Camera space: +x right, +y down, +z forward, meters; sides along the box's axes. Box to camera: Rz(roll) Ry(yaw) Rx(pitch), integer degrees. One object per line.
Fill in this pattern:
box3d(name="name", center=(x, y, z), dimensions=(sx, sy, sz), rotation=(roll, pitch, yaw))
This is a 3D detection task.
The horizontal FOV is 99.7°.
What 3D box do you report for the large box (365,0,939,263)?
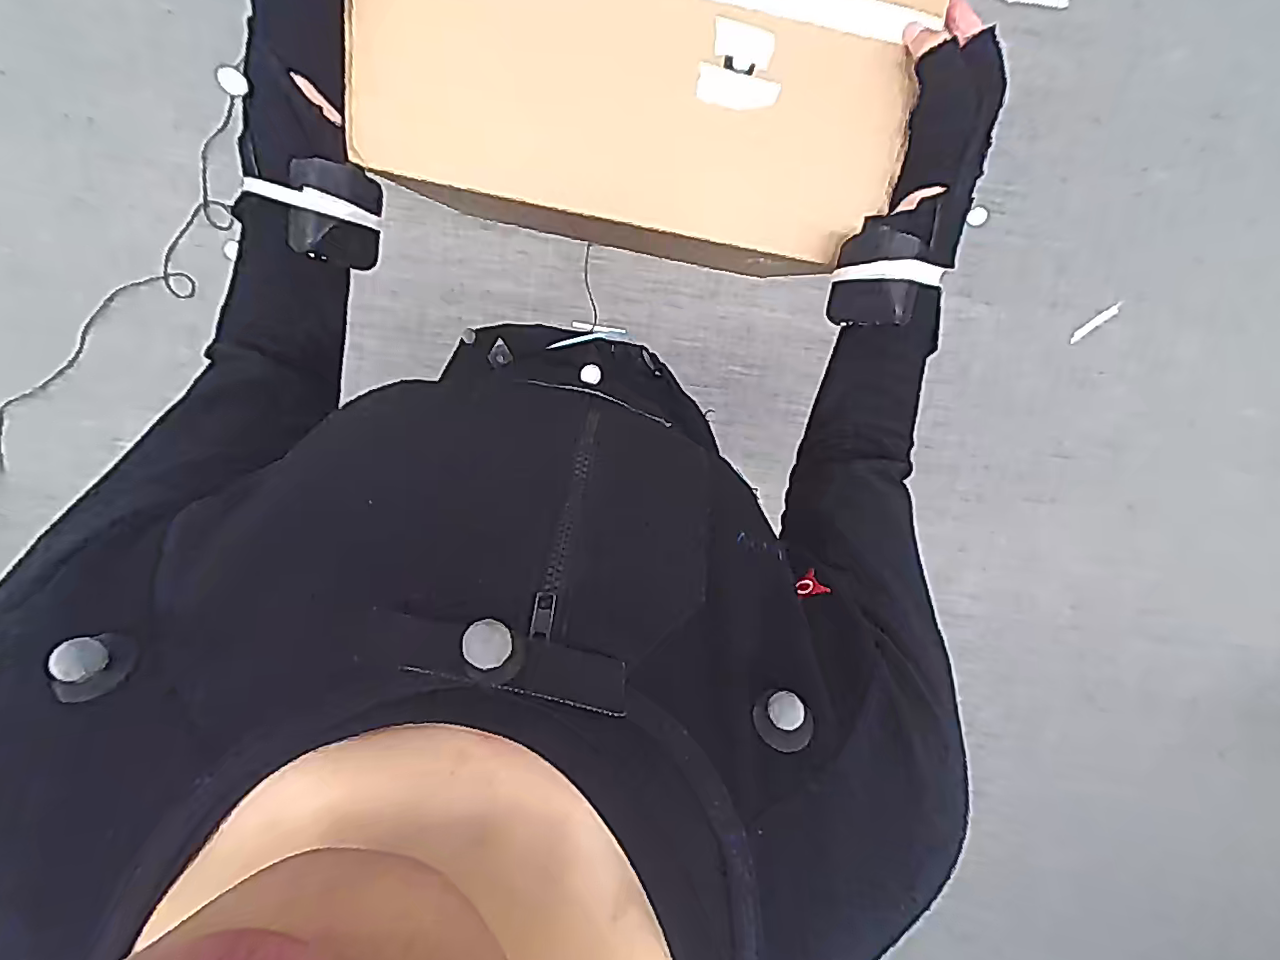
box3d(name="large box", center=(0.006, -0.405, 0.512), dimensions=(0.408, 0.320, 0.320), rotation=(8, 110, -7))
